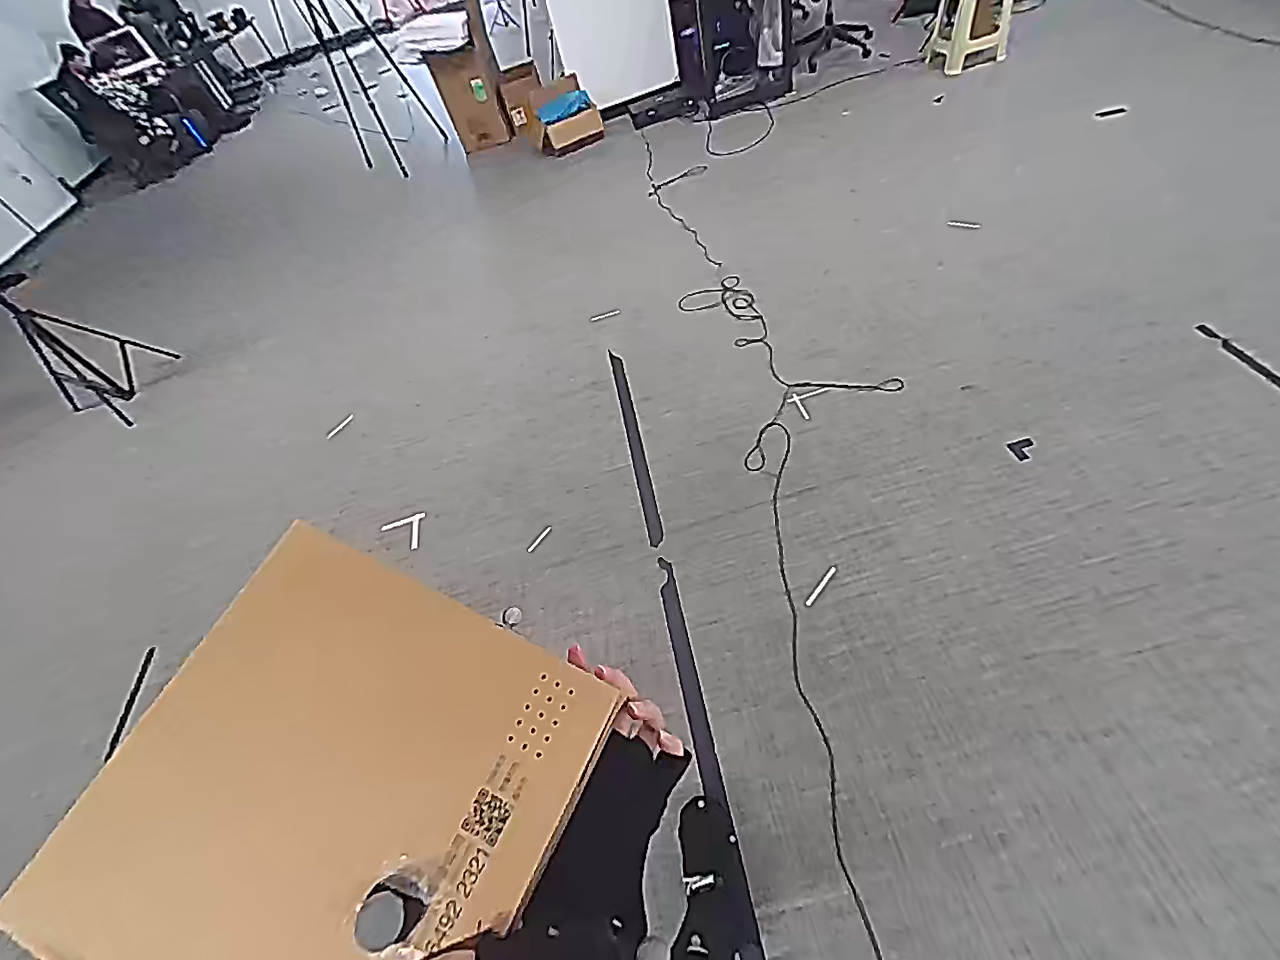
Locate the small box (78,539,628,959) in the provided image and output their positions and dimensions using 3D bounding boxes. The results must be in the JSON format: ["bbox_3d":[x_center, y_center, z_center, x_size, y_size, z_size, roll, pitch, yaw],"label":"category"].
[{"bbox_3d":[-0.115,0.160,0.303,0.176,0.179,0.168,25,70,9],"label":"small box"}]
